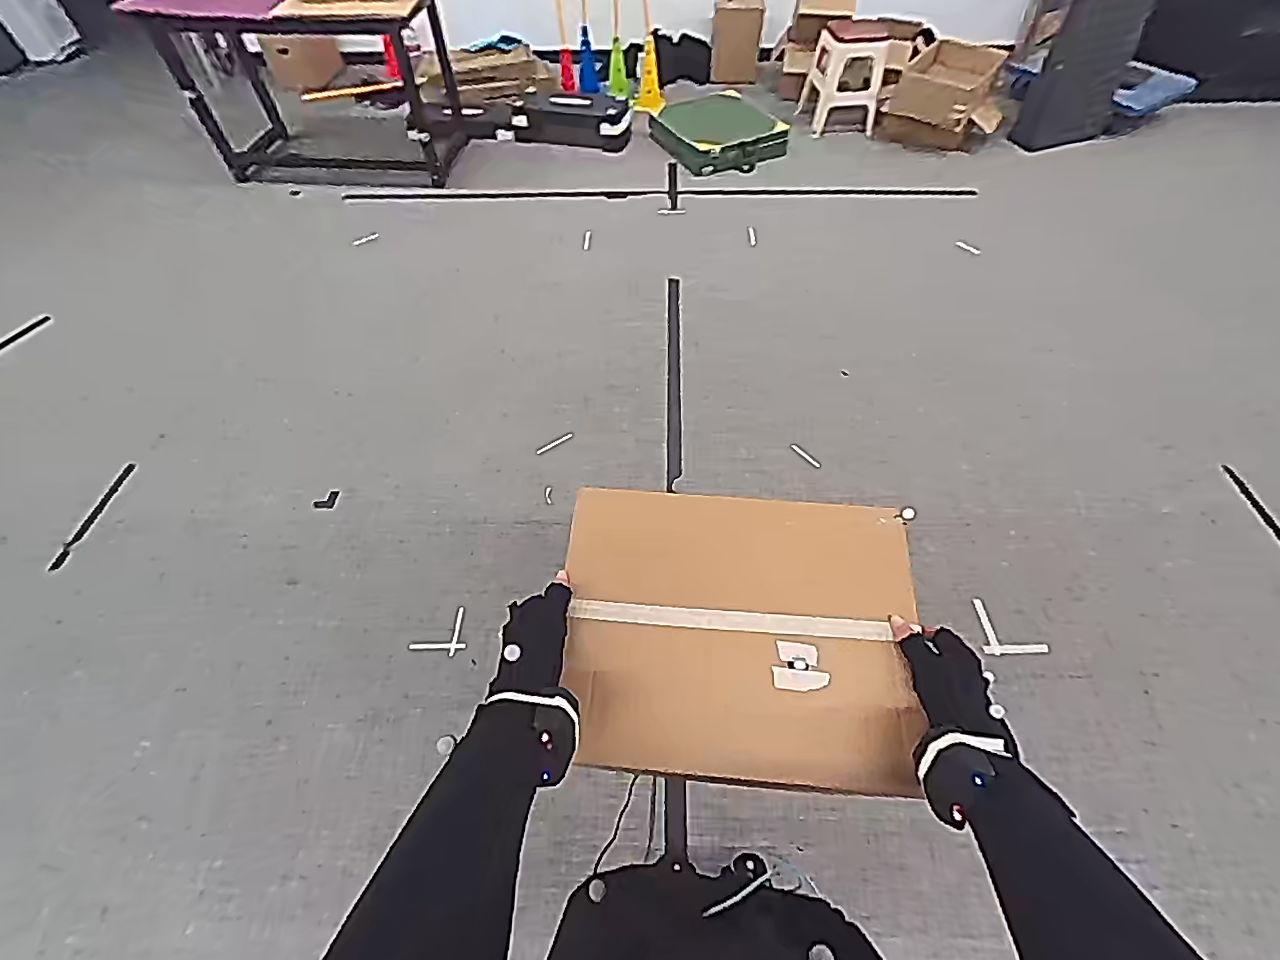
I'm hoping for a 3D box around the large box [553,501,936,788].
[{"bbox_3d":[0.115,0.242,0.757,0.408,0.320,0.320,3,62,3],"label":"large box"}]
